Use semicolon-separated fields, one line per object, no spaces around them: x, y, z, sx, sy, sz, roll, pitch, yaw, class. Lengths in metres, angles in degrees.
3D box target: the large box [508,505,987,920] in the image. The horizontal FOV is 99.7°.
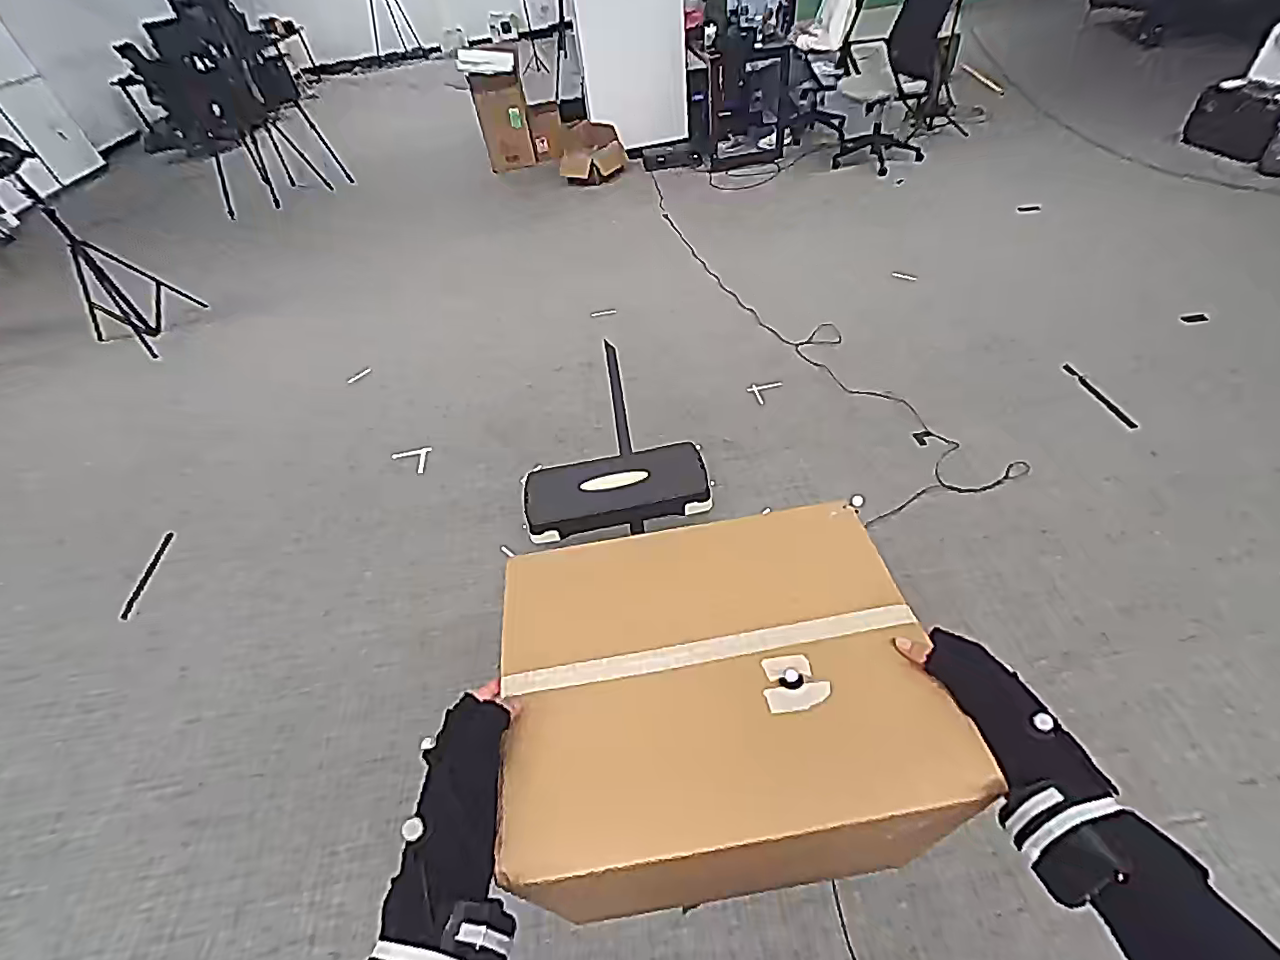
0.082;0.273;0.640;0.408;0.320;0.320;-10;46;-1;large box
